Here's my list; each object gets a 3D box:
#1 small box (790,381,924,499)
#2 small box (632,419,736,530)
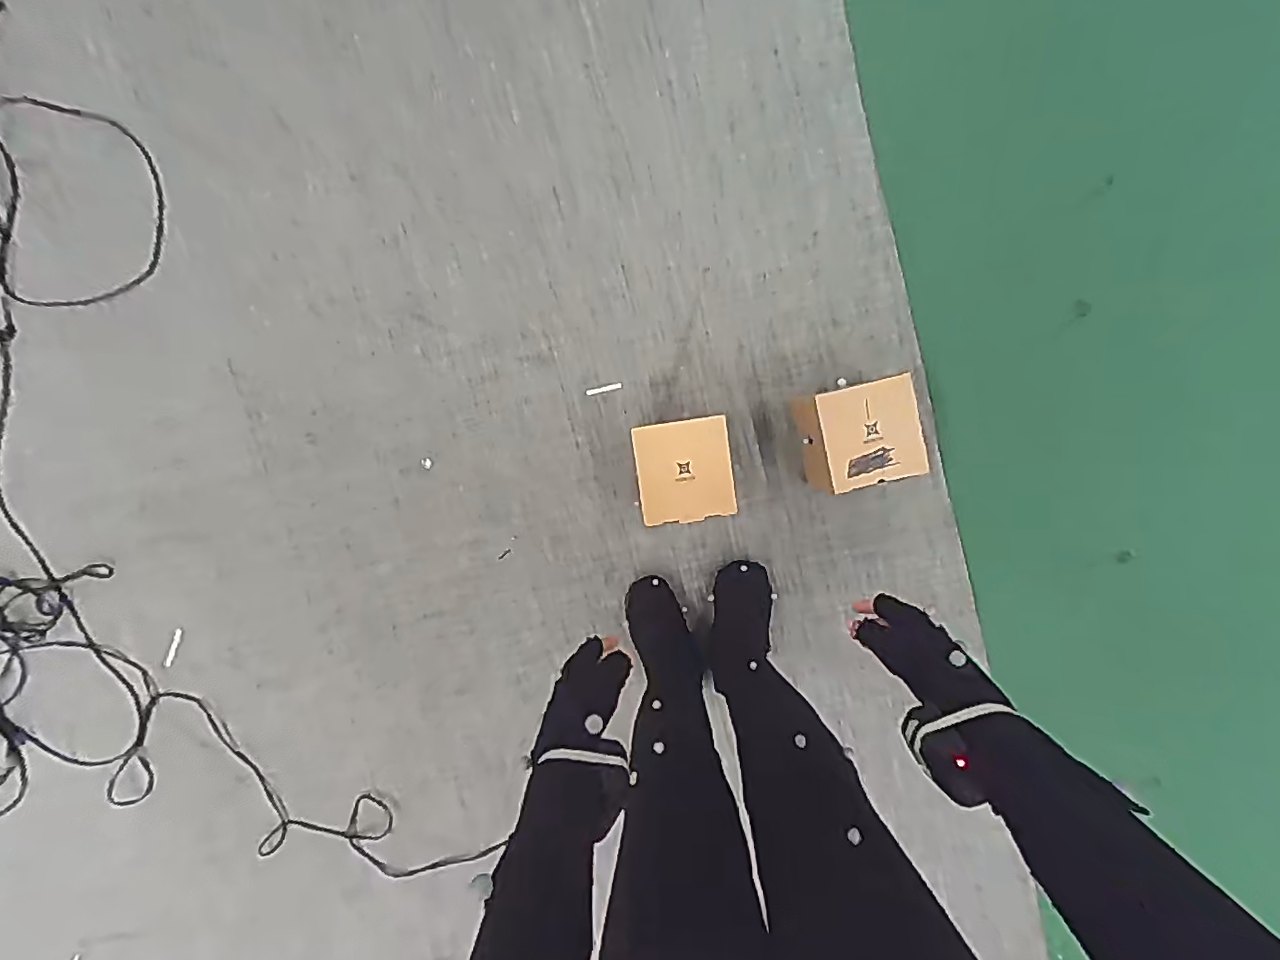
[{"bbox_3d":[0.389,-0.075,0.995,0.168,0.176,0.179,-13,94,3],"label":"small box"},{"bbox_3d":[0.076,-0.015,1.011,0.168,0.176,0.179,-8,96,2],"label":"small box"}]
